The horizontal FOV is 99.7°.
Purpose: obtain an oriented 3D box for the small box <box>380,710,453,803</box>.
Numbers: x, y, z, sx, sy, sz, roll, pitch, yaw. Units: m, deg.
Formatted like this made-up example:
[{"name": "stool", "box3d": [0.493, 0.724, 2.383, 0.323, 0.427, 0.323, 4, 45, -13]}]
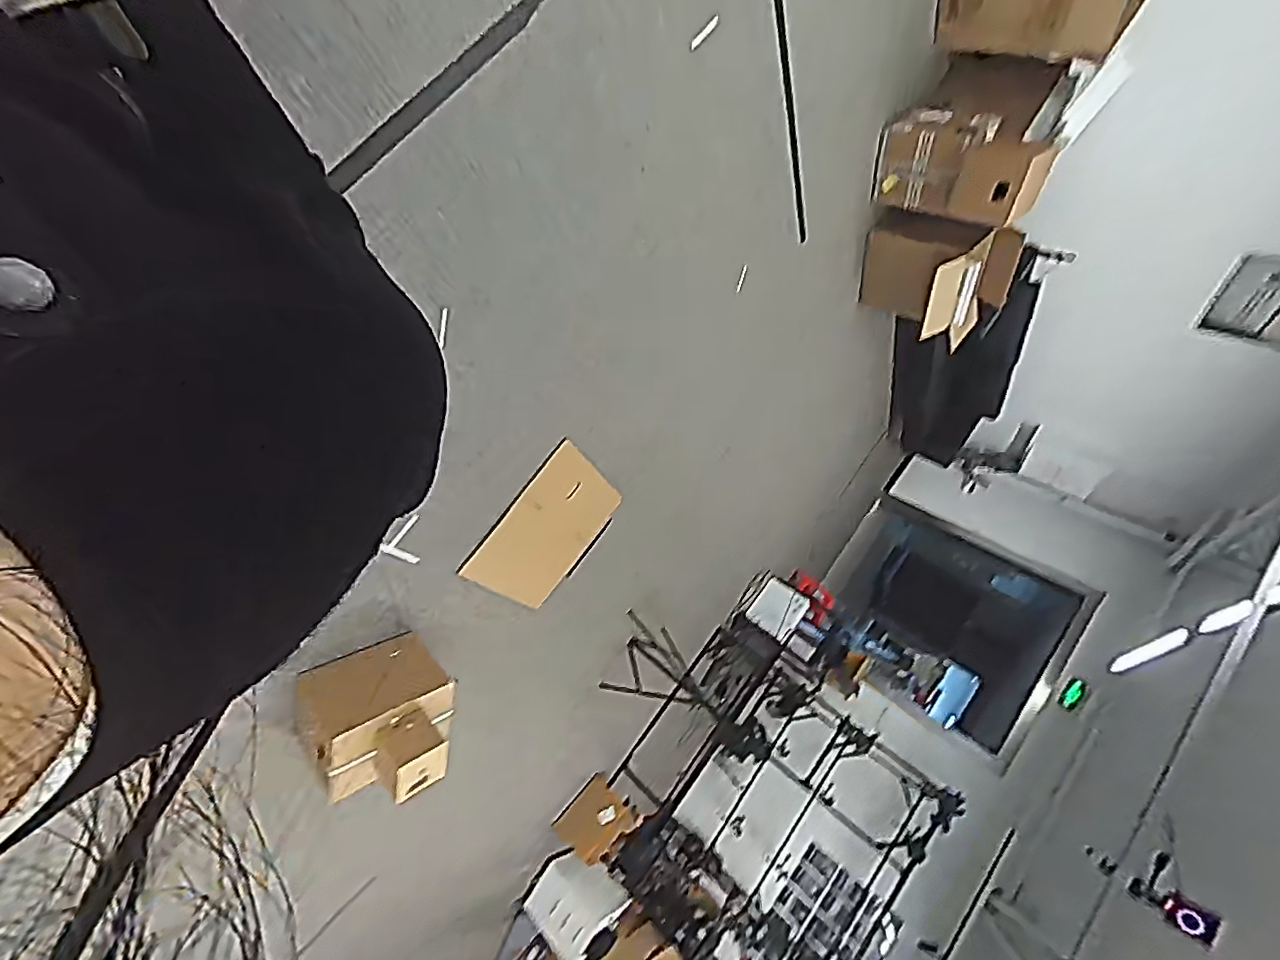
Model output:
[{"name": "small box", "box3d": [-0.741, 0.905, 1.784, 0.168, 0.176, 0.179, -15, 126, -47]}]
